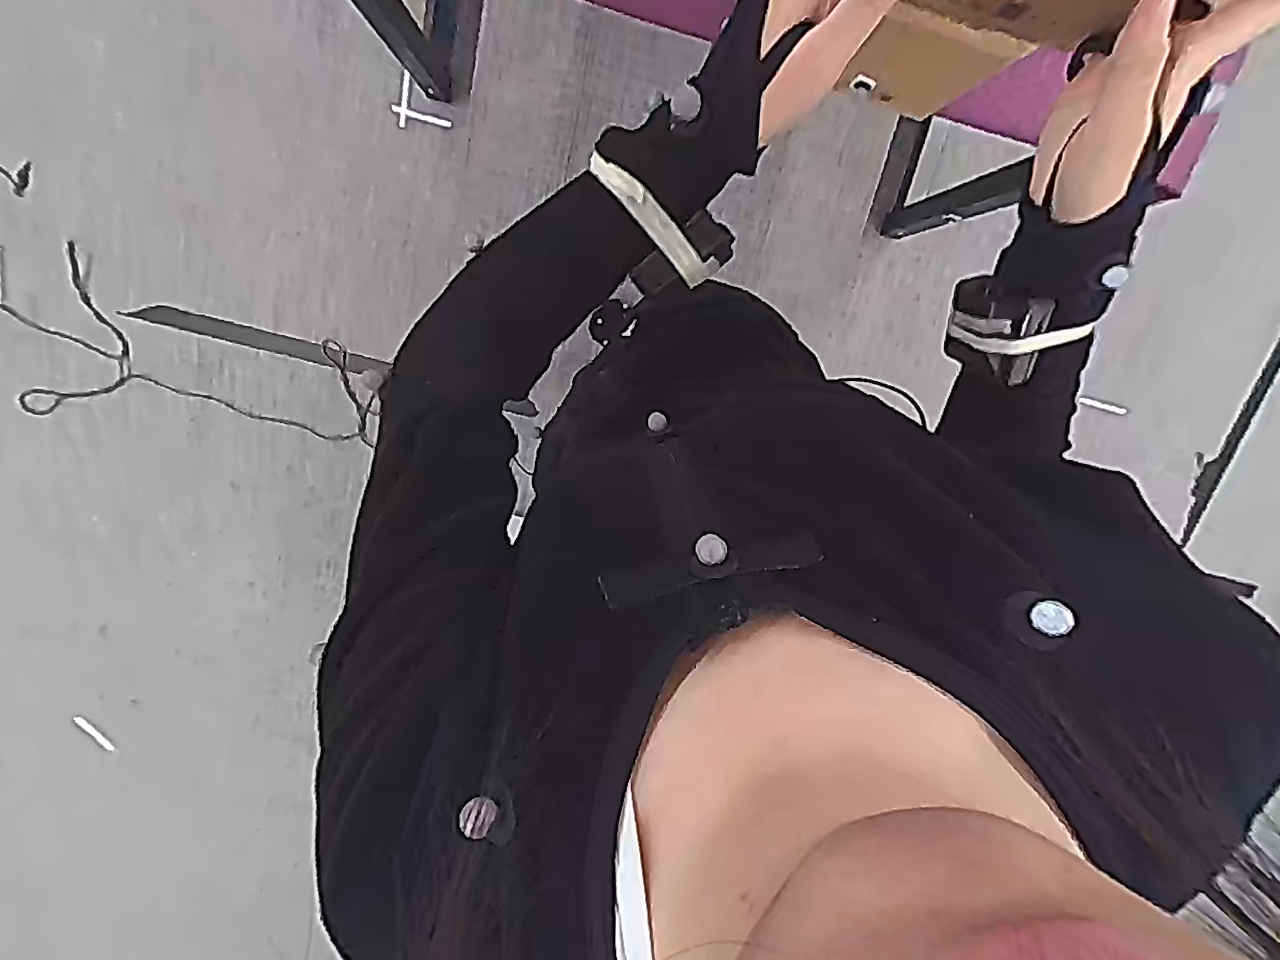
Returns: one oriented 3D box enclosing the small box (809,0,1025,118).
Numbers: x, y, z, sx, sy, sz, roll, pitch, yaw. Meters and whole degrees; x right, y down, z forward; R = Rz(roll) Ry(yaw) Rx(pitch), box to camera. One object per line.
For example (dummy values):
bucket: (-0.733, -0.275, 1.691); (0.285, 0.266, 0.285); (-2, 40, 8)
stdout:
small box: (0.293, -0.510, 0.545); (0.168, 0.176, 0.179); (14, 106, -6)

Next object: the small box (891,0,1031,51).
small box: (0.299, -0.461, 0.390); (0.168, 0.176, 0.179); (13, 105, -5)

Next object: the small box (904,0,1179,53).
small box: (0.205, -0.320, 0.208); (0.168, 0.176, 0.179); (11, 106, -7)
